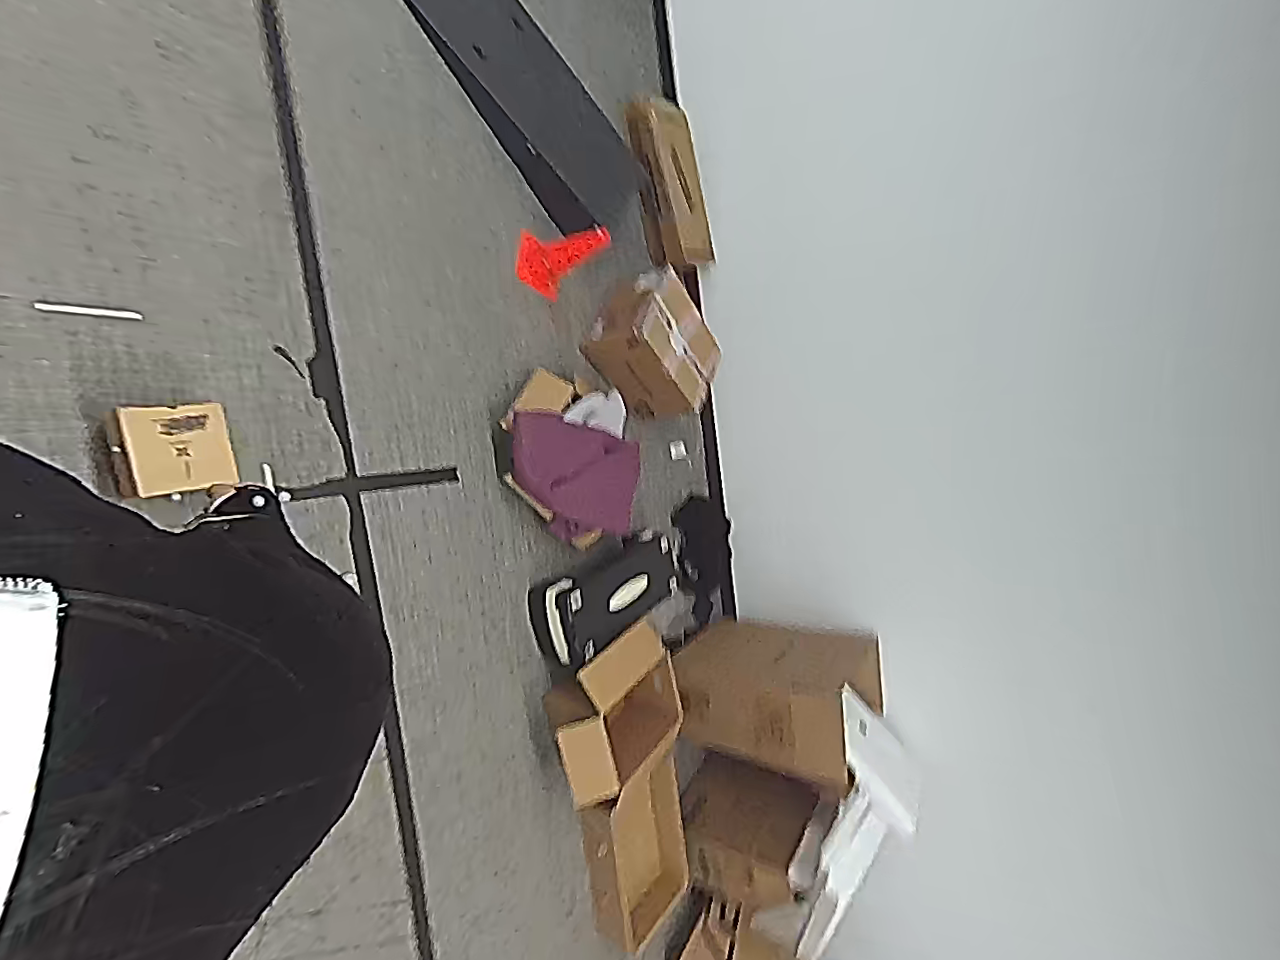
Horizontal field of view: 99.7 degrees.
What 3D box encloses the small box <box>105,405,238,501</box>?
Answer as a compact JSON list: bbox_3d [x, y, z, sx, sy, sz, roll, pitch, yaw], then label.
[{"bbox_3d":[-0.983,-0.056,1.134,0.168,0.176,0.179,-15,99,-51],"label":"small box"}]
